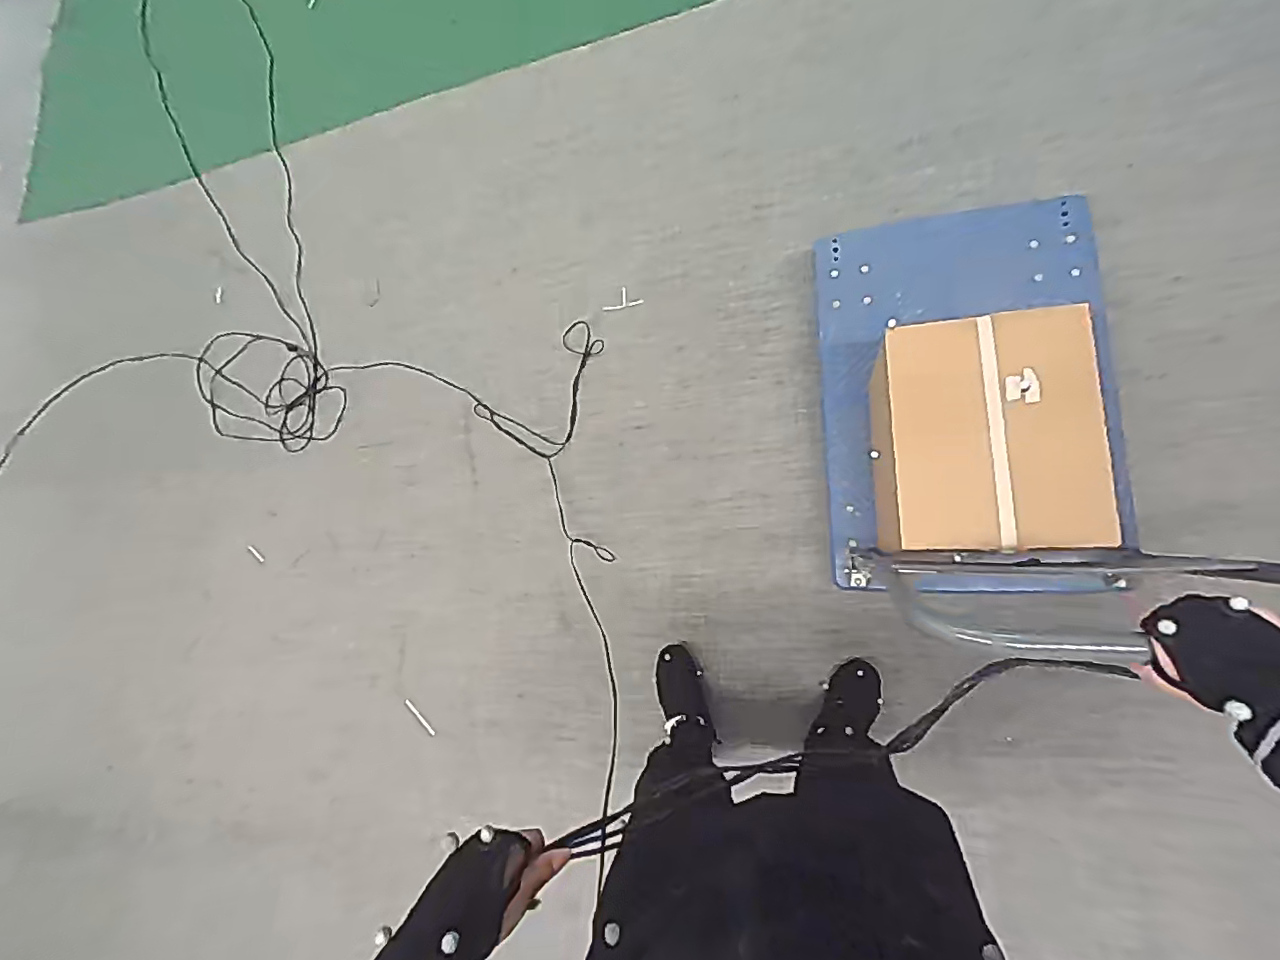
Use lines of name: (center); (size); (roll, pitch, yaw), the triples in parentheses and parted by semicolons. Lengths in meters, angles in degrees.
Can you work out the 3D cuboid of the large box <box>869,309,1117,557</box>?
large box: (0.637, -0.059, 1.054); (0.320, 0.320, 0.408); (-3, 80, 16)
